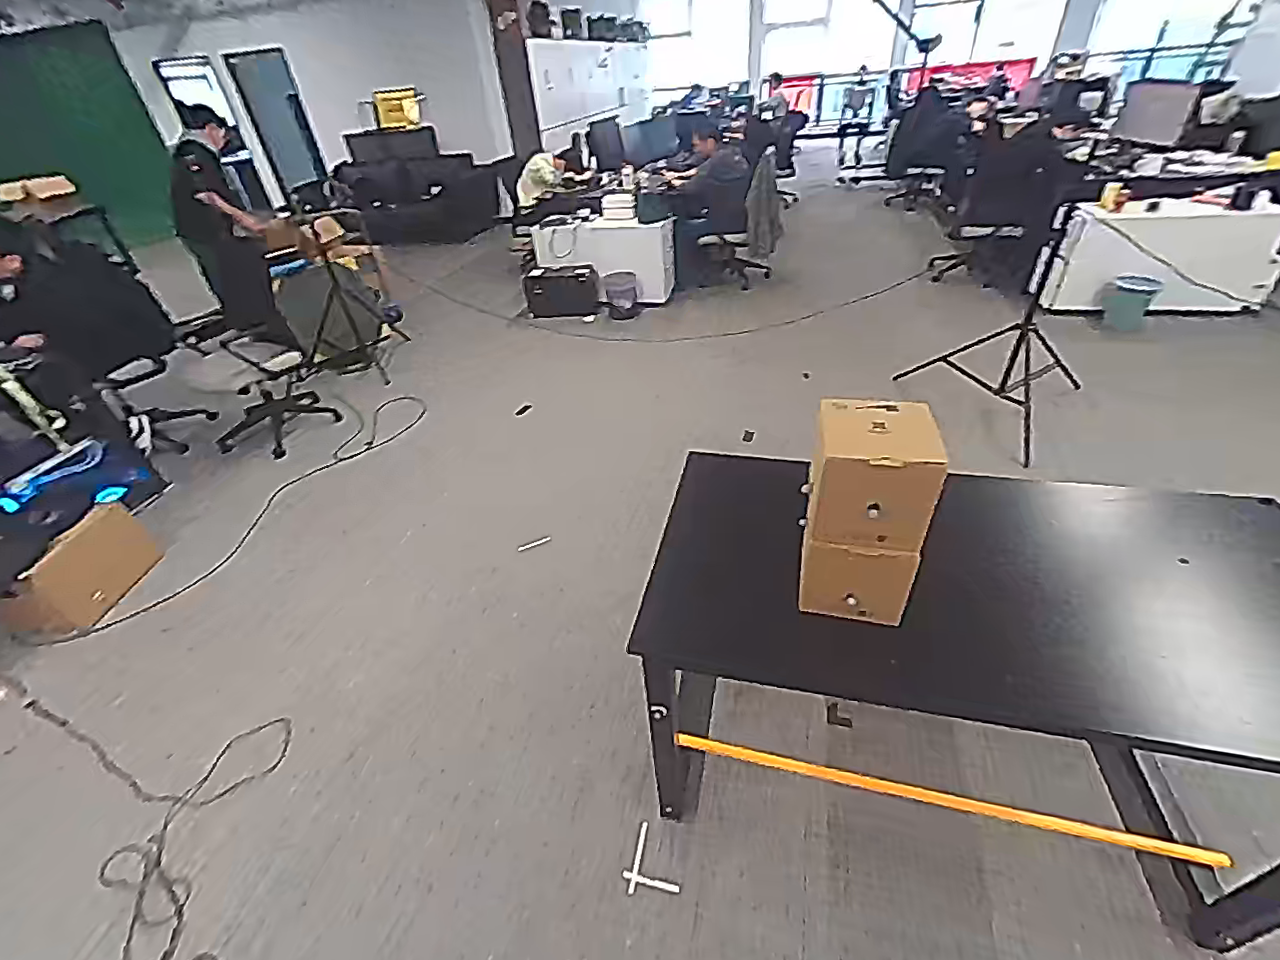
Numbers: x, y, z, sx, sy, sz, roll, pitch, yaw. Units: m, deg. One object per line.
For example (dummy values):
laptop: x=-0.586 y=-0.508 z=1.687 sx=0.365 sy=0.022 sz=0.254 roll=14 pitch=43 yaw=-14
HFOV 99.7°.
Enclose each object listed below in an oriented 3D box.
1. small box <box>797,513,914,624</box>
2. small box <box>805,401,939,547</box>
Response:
small box: x=0.375 y=0.125 z=0.966 sx=0.168 sy=0.176 sz=0.179 roll=6 pitch=38 yaw=16
small box: x=0.362 y=-0.011 z=0.875 sx=0.168 sy=0.176 sz=0.179 roll=4 pitch=39 yaw=13
